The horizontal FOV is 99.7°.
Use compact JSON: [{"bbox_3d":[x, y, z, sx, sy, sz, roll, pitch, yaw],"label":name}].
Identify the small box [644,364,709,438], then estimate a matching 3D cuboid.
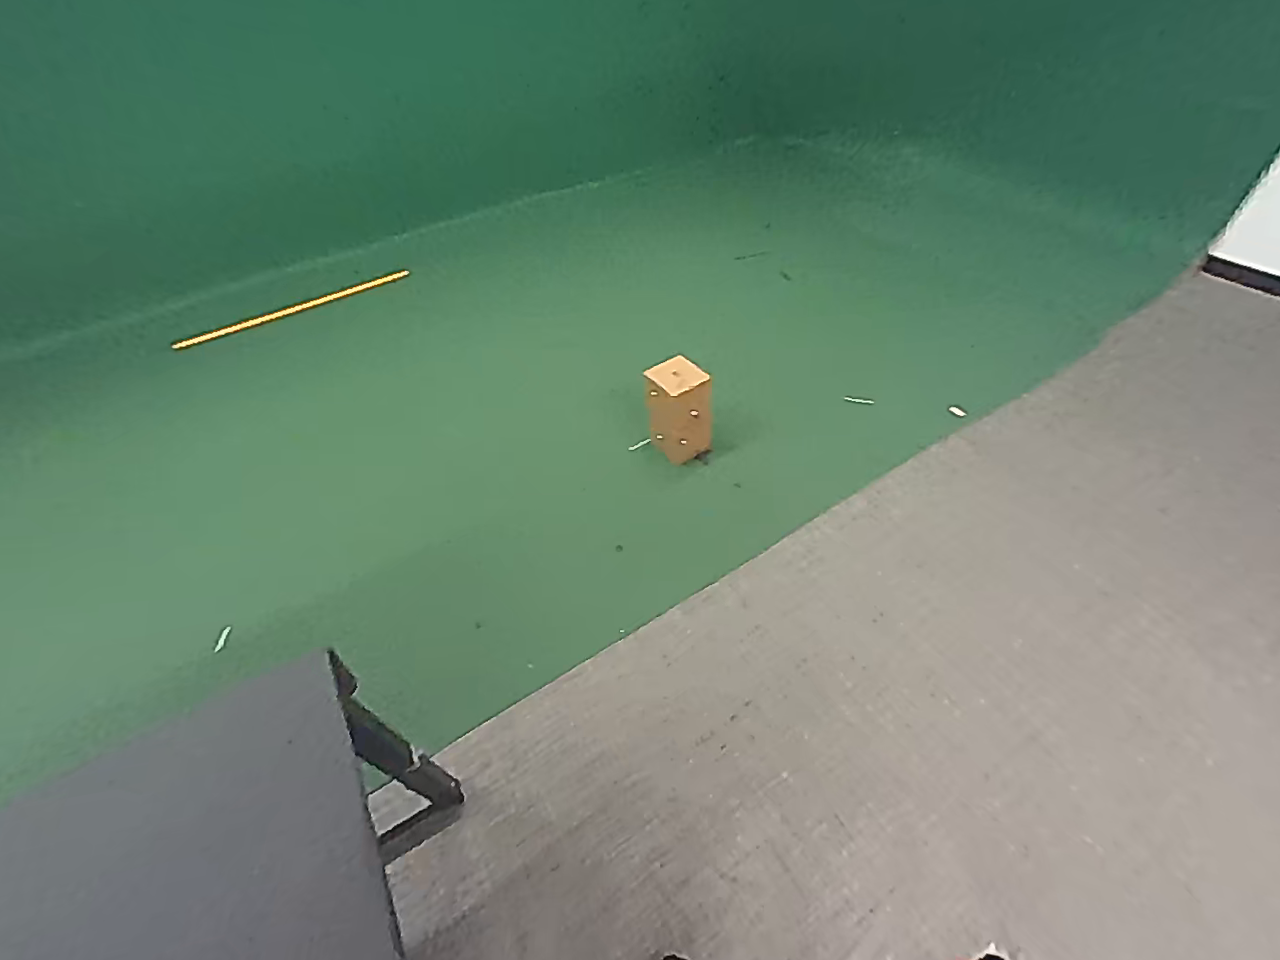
[{"bbox_3d":[0.131,-0.283,1.941,0.168,0.176,0.179,-30,52,-20],"label":"small box"}]
